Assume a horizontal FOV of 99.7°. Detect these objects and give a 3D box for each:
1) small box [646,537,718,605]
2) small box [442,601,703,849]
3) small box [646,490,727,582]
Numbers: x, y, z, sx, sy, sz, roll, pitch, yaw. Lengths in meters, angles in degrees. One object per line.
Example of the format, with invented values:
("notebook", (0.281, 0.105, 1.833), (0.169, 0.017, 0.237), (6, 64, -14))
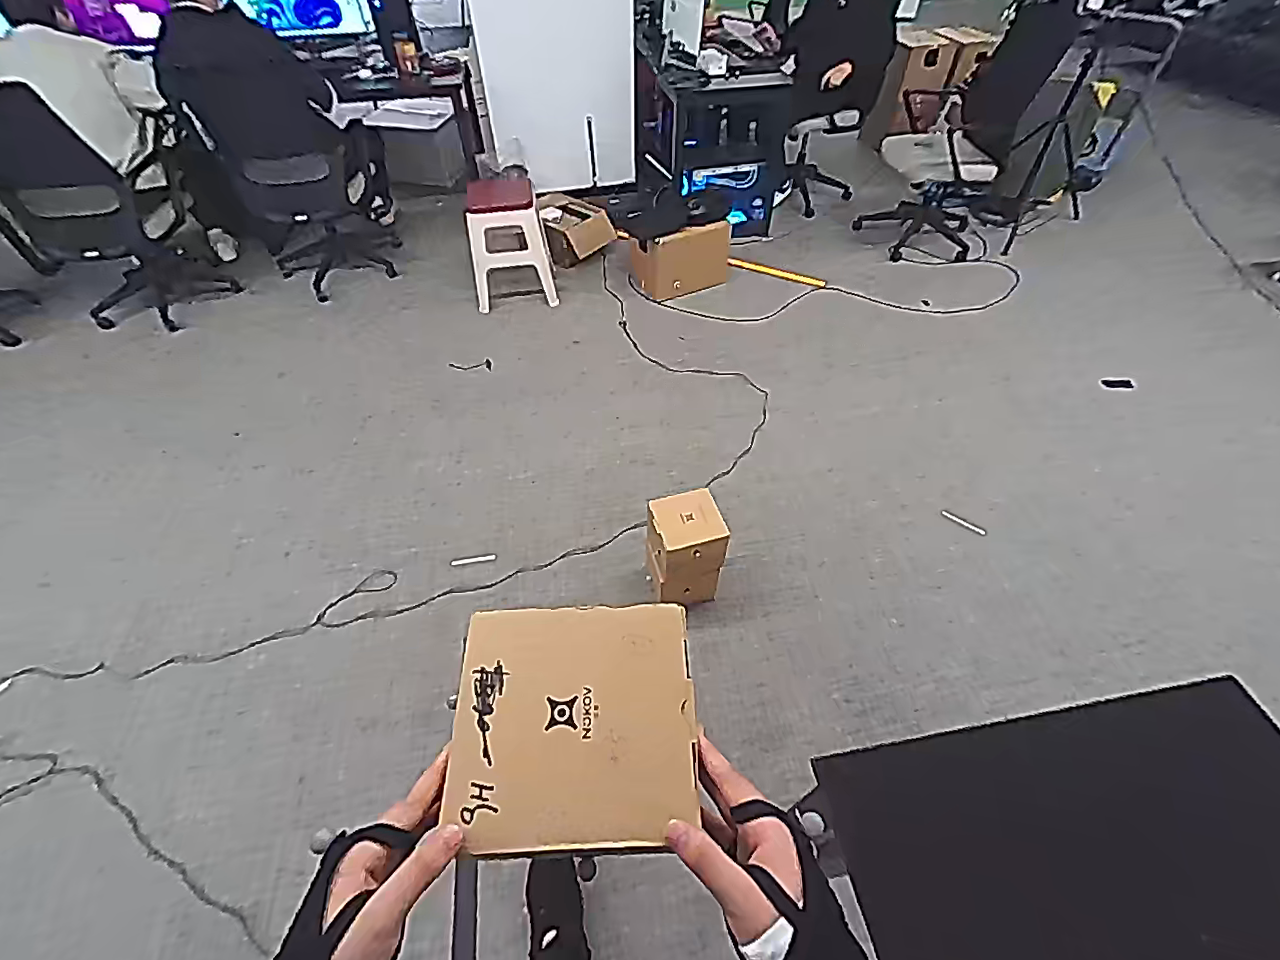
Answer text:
("small box", (0.118, 0.265, 1.608), (0.179, 0.176, 0.168), (-12, 50, -9))
("small box", (-0.048, 0.215, 0.469), (0.179, 0.176, 0.168), (-1, 53, -2))
("small box", (0.122, 0.158, 1.485), (0.179, 0.176, 0.168), (-13, 51, -11))
